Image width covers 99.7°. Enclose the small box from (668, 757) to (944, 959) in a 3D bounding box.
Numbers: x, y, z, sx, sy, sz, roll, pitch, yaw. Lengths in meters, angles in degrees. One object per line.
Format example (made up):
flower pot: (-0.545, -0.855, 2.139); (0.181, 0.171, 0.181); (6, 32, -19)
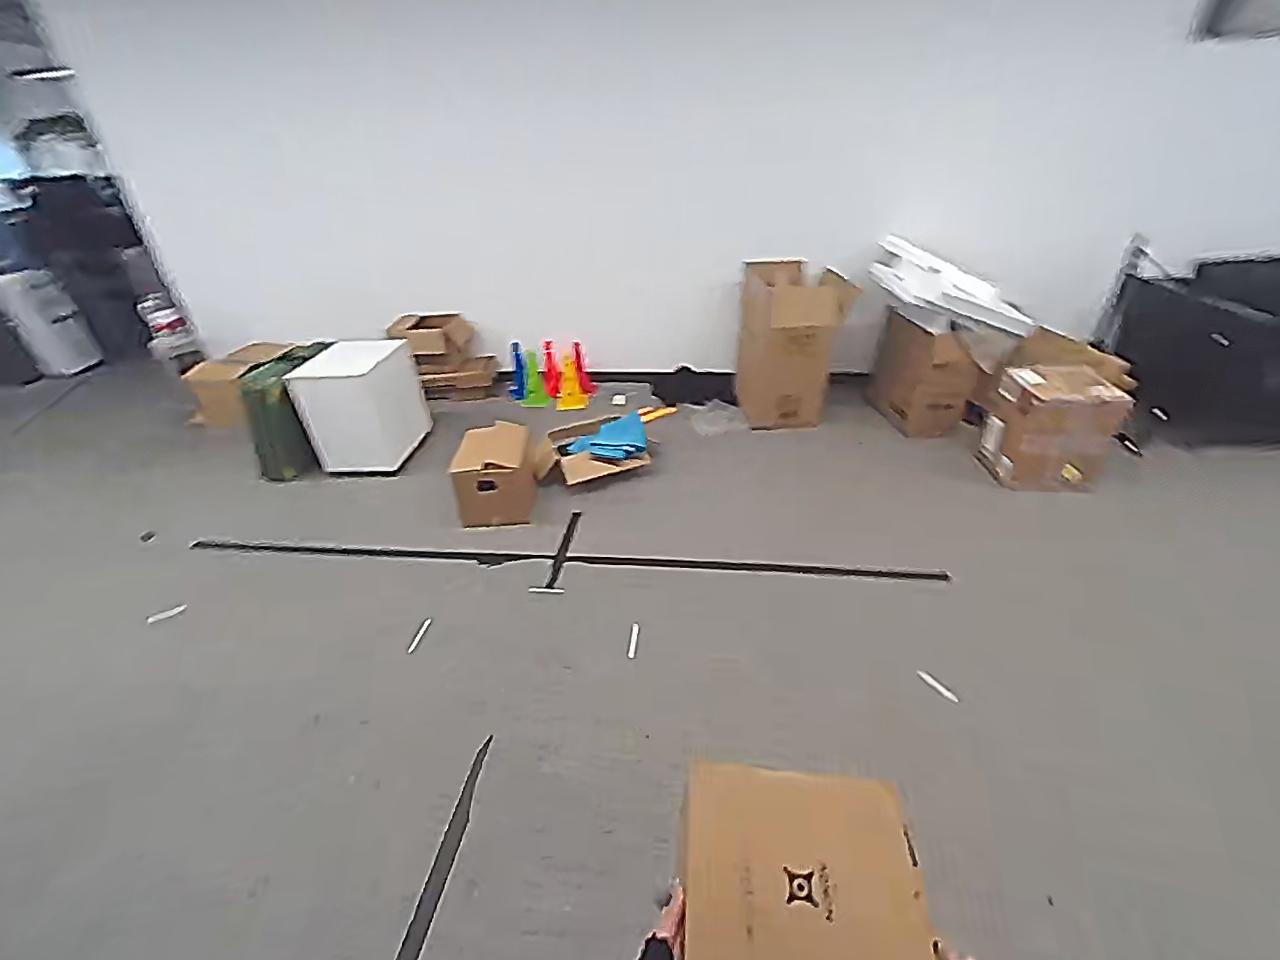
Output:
small box: (0.116, 0.354, 0.439); (0.179, 0.176, 0.168); (3, 36, 2)
